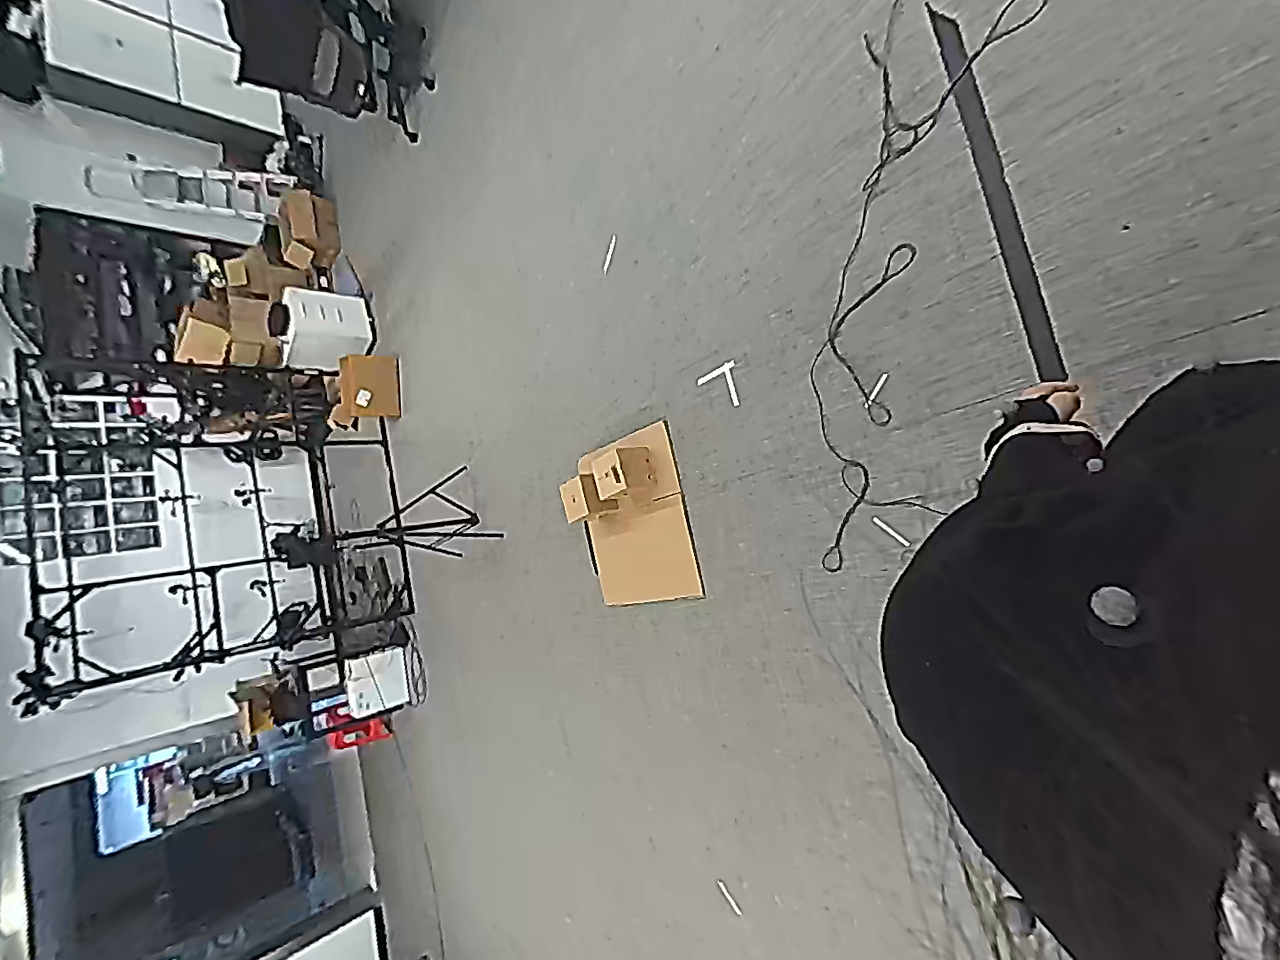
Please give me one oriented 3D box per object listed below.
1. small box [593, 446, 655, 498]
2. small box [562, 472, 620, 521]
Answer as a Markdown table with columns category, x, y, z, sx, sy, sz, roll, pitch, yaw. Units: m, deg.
| category | x | y | z | sx | sy | sz | roll | pitch | yaw |
| --- | --- | --- | --- | --- | --- | --- | --- | --- | --- |
| small box | -0.058 | -0.035 | 2.175 | 0.179 | 0.176 | 0.168 | -25 | 76 | 46 |
| small box | -0.212 | 0.067 | 2.358 | 0.168 | 0.176 | 0.179 | -28 | 75 | 46 |
